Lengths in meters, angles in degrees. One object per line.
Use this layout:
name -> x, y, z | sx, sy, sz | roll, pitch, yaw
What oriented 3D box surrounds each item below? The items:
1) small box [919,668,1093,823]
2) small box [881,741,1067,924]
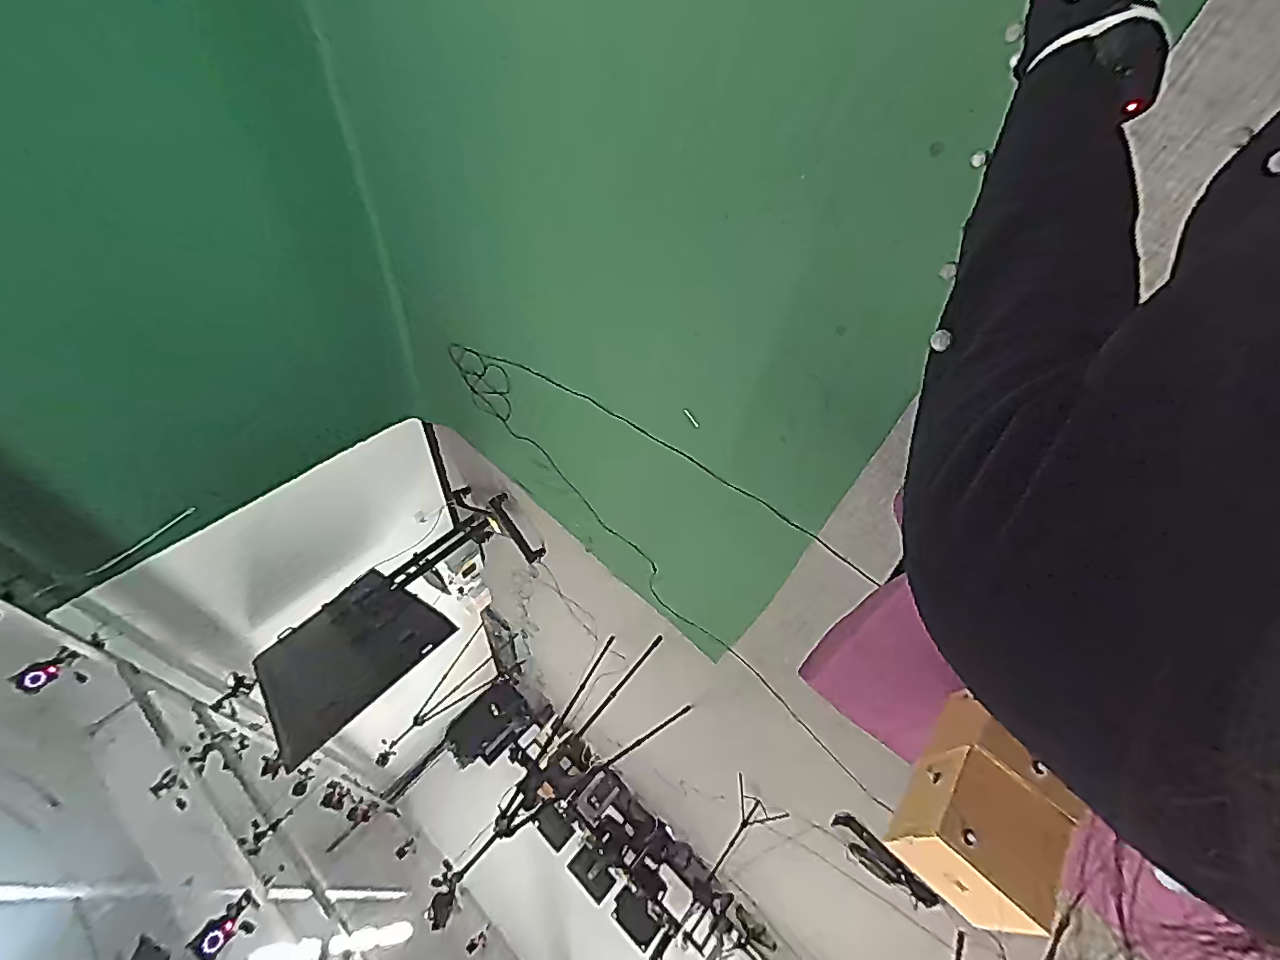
small box -> 0.646, 0.471, 0.957 | 0.179, 0.176, 0.168 | 40, 147, 17
small box -> 0.539, 0.564, 0.878 | 0.179, 0.176, 0.168 | 39, 147, 19
